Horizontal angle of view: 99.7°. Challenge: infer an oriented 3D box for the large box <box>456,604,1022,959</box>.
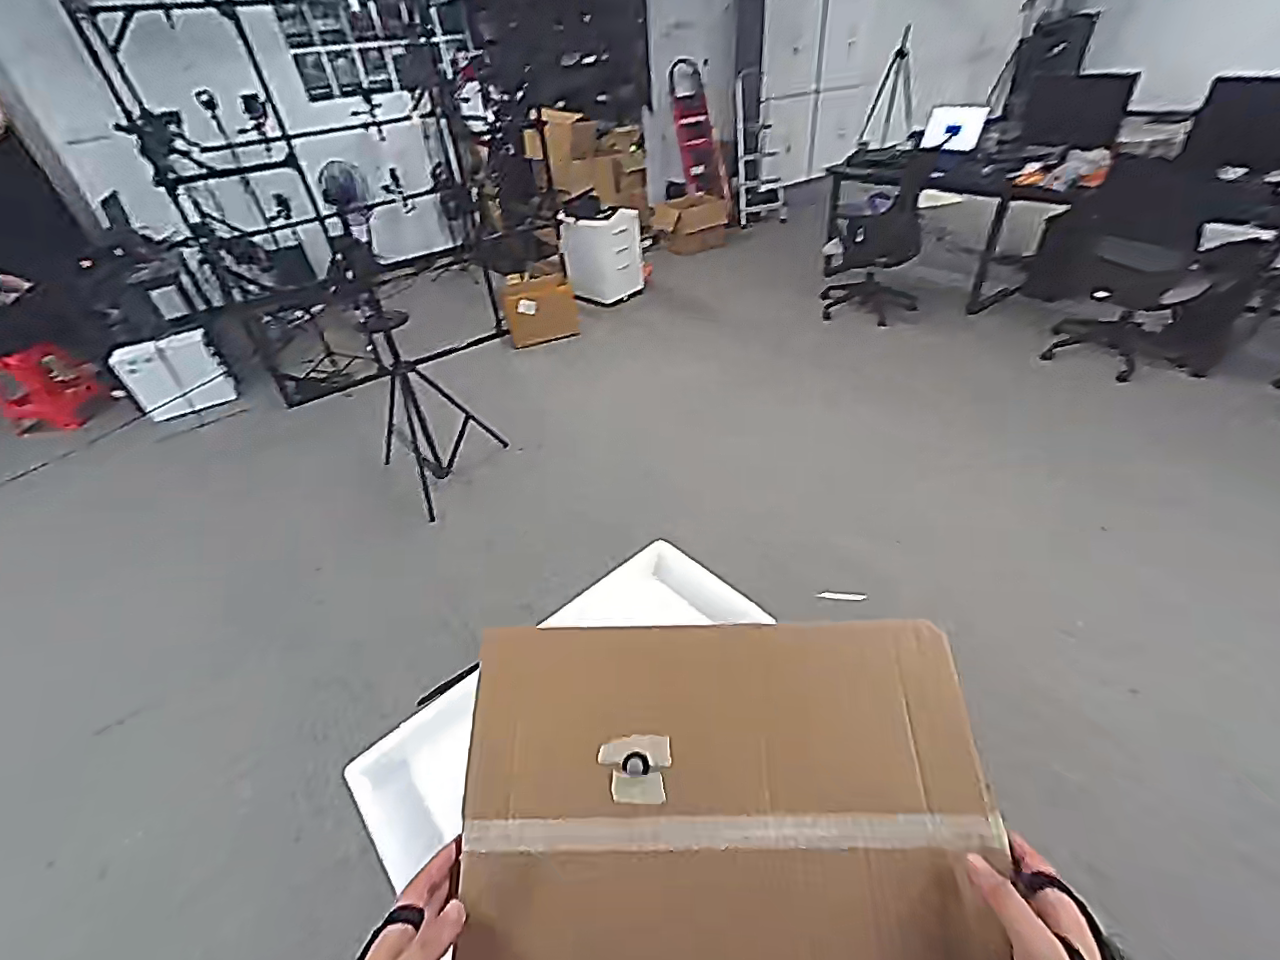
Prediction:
[{"bbox_3d":[0.071,0.322,0.550,0.408,0.320,0.320,-3,64,2],"label":"large box"}]
